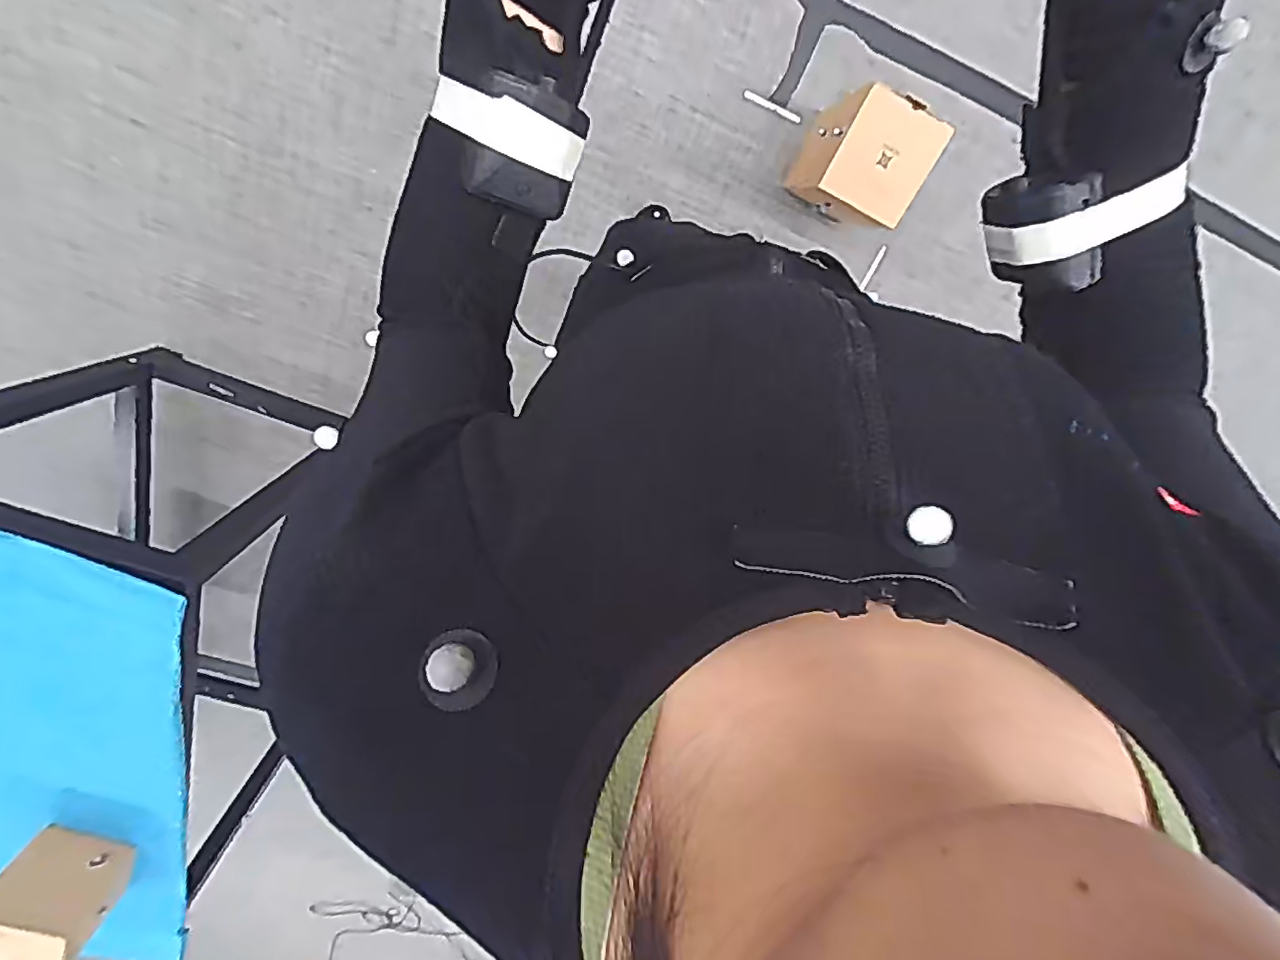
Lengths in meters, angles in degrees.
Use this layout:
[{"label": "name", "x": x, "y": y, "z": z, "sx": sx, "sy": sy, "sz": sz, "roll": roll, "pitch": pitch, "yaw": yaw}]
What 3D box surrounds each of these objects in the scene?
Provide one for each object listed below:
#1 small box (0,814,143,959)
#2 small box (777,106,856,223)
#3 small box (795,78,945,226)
[{"label": "small box", "x": -1.168, "y": 0.823, "z": 1.090, "sx": 0.179, "sy": 0.176, "sz": 0.168, "roll": 24, "pitch": 113, "yaw": -13}, {"label": "small box", "x": 0.427, "y": -0.681, "z": 1.166, "sx": 0.179, "sy": 0.176, "sz": 0.168, "roll": 23, "pitch": 114, "yaw": -13}, {"label": "small box", "x": 0.418, "y": -0.608, "z": 1.021, "sx": 0.168, "sy": 0.176, "sz": 0.179, "roll": 24, "pitch": 115, "yaw": -11}]
